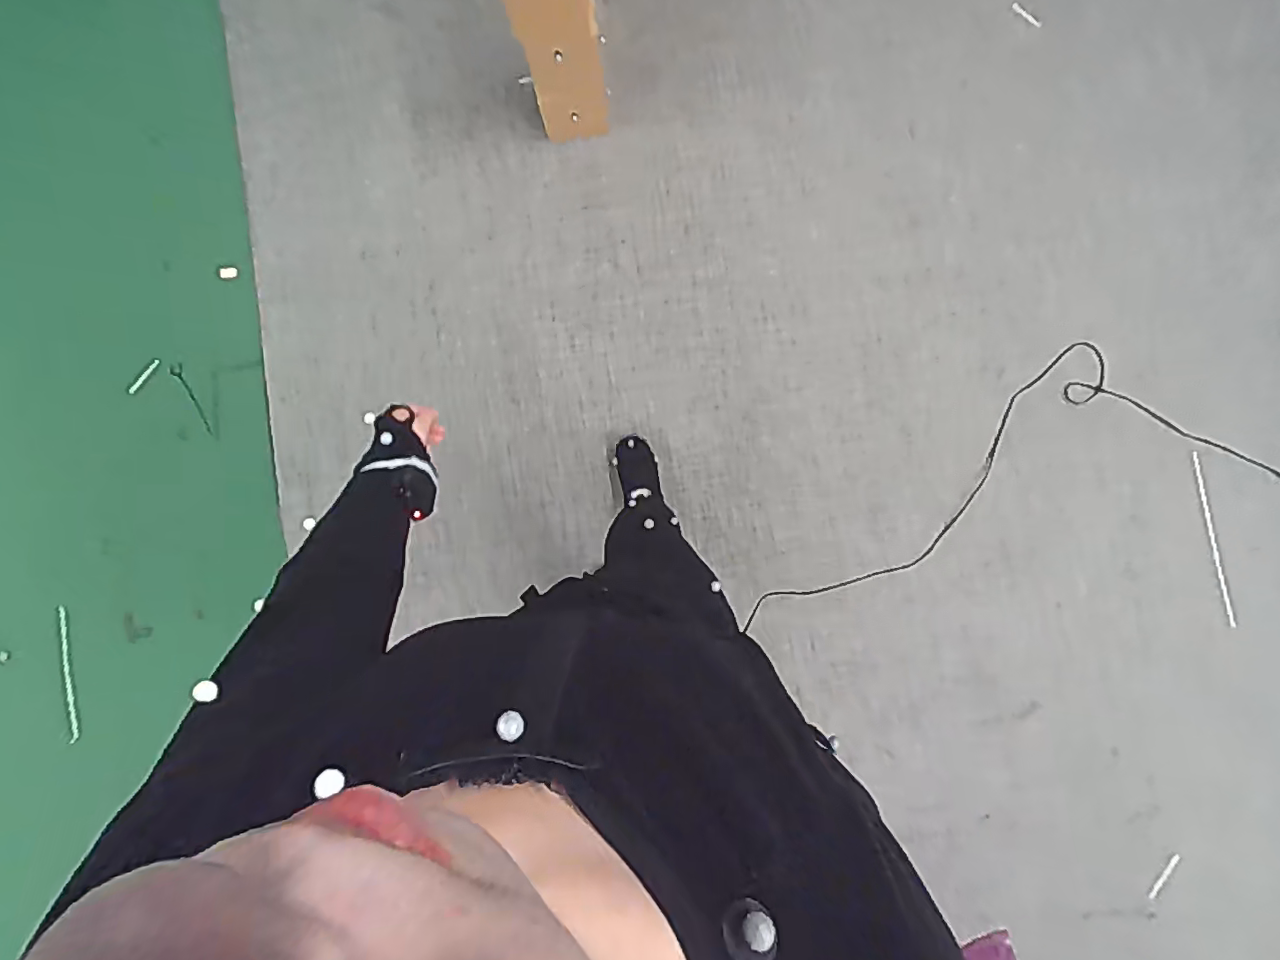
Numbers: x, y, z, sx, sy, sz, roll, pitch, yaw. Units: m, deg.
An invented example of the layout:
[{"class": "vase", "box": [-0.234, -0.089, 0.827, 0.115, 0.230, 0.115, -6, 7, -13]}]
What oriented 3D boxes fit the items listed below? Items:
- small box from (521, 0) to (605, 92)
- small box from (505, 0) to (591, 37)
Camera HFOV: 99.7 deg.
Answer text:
[{"class": "small box", "box": [-0.185, -1.074, 1.300, 0.179, 0.176, 0.168, -6, 88, 1]}, {"class": "small box", "box": [-0.201, -1.078, 1.137, 0.179, 0.176, 0.168, -2, 88, 0]}]
